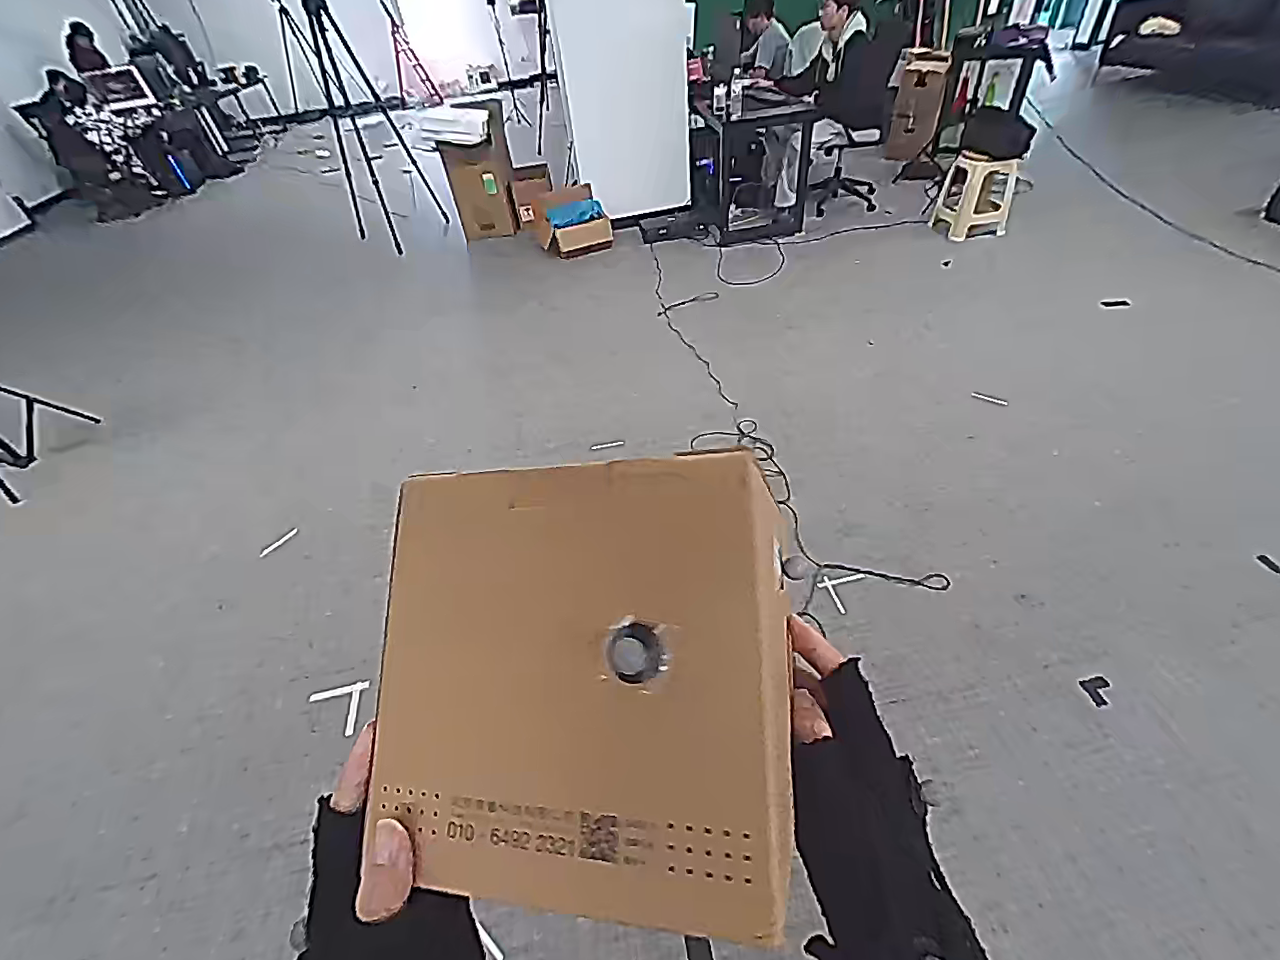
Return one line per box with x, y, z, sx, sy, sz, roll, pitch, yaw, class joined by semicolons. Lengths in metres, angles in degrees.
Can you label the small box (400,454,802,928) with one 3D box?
-0.007;0.095;0.293;0.168;0.179;0.176;-5;76;20;small box
